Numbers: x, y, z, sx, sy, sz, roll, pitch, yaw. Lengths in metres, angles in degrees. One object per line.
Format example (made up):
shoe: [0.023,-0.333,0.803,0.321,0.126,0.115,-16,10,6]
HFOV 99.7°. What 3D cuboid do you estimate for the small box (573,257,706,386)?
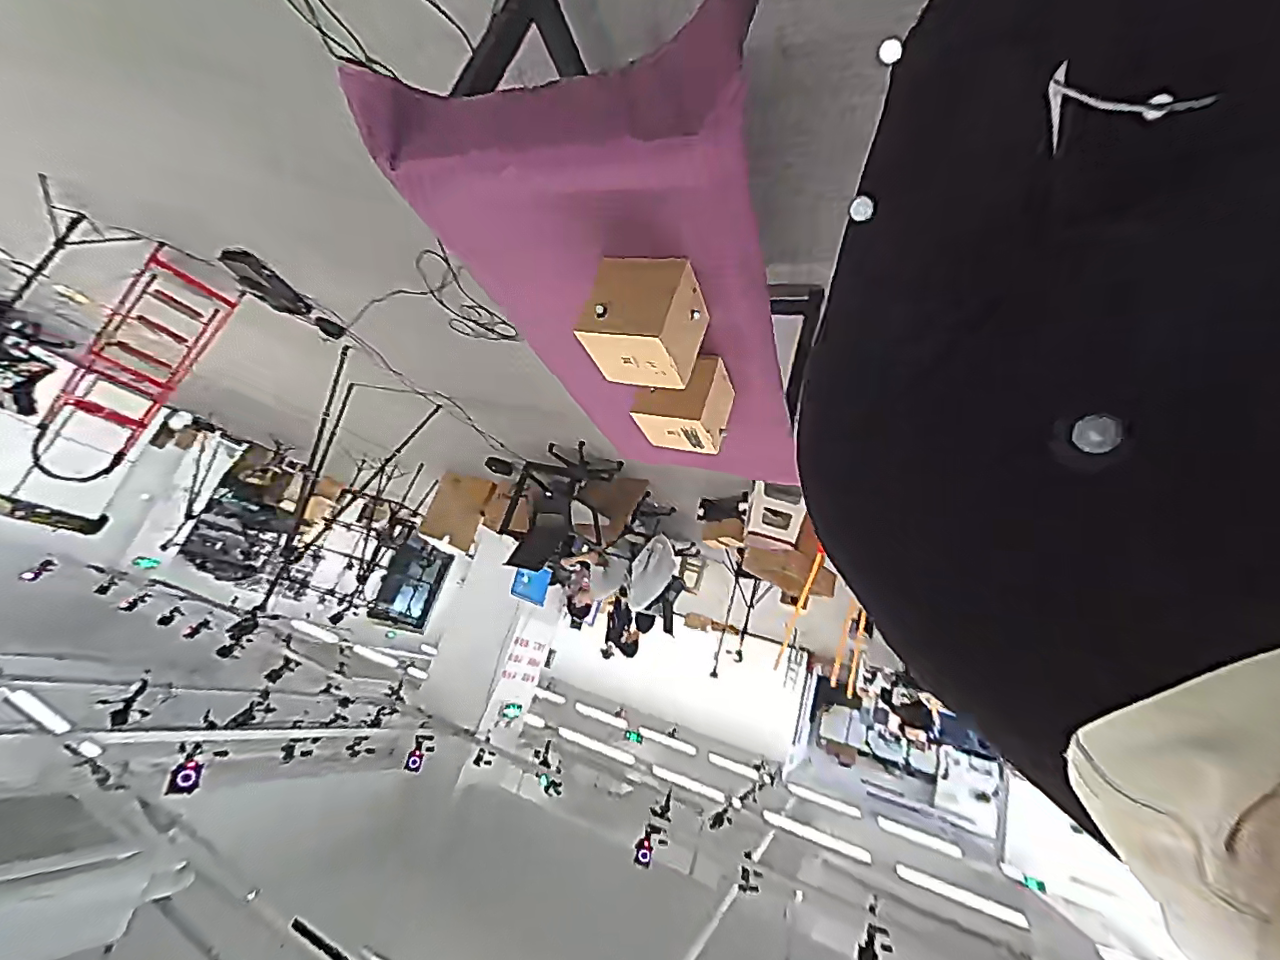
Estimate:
small box: [0.006,-0.299,1.017,0.179,0.176,0.168,10,162,24]
